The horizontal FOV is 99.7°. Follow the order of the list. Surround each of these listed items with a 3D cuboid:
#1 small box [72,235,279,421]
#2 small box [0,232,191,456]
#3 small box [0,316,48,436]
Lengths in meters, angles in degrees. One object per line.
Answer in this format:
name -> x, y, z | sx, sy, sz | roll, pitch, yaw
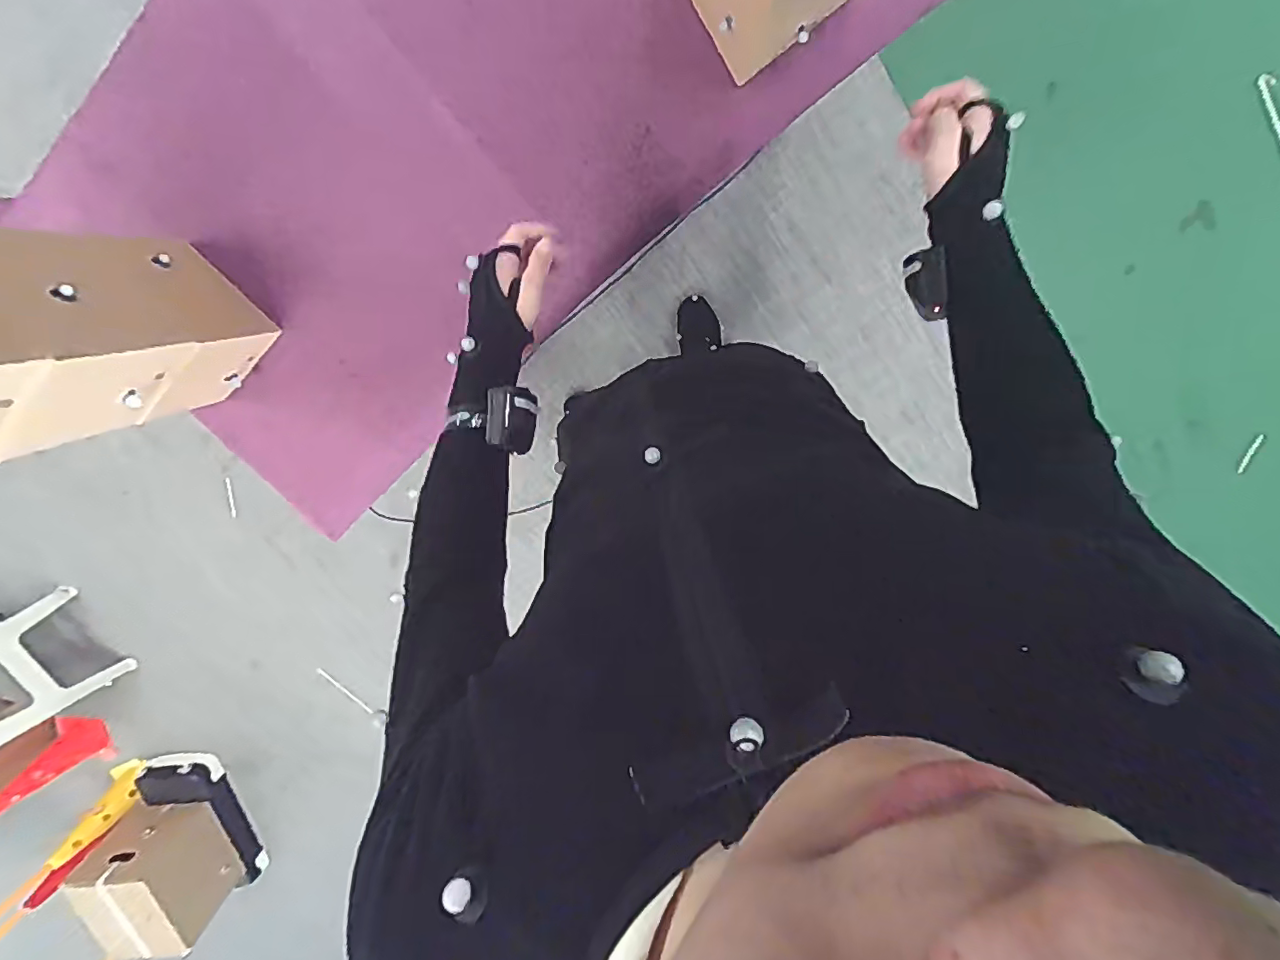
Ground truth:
small box -> -0.675, -0.214, 0.765 | 0.168, 0.176, 0.179 | -39, 105, 16
small box -> -0.683, -0.158, 0.612 | 0.168, 0.176, 0.179 | -40, 104, 16
small box -> -0.692, -0.100, 0.460 | 0.168, 0.176, 0.179 | -40, 103, 17
